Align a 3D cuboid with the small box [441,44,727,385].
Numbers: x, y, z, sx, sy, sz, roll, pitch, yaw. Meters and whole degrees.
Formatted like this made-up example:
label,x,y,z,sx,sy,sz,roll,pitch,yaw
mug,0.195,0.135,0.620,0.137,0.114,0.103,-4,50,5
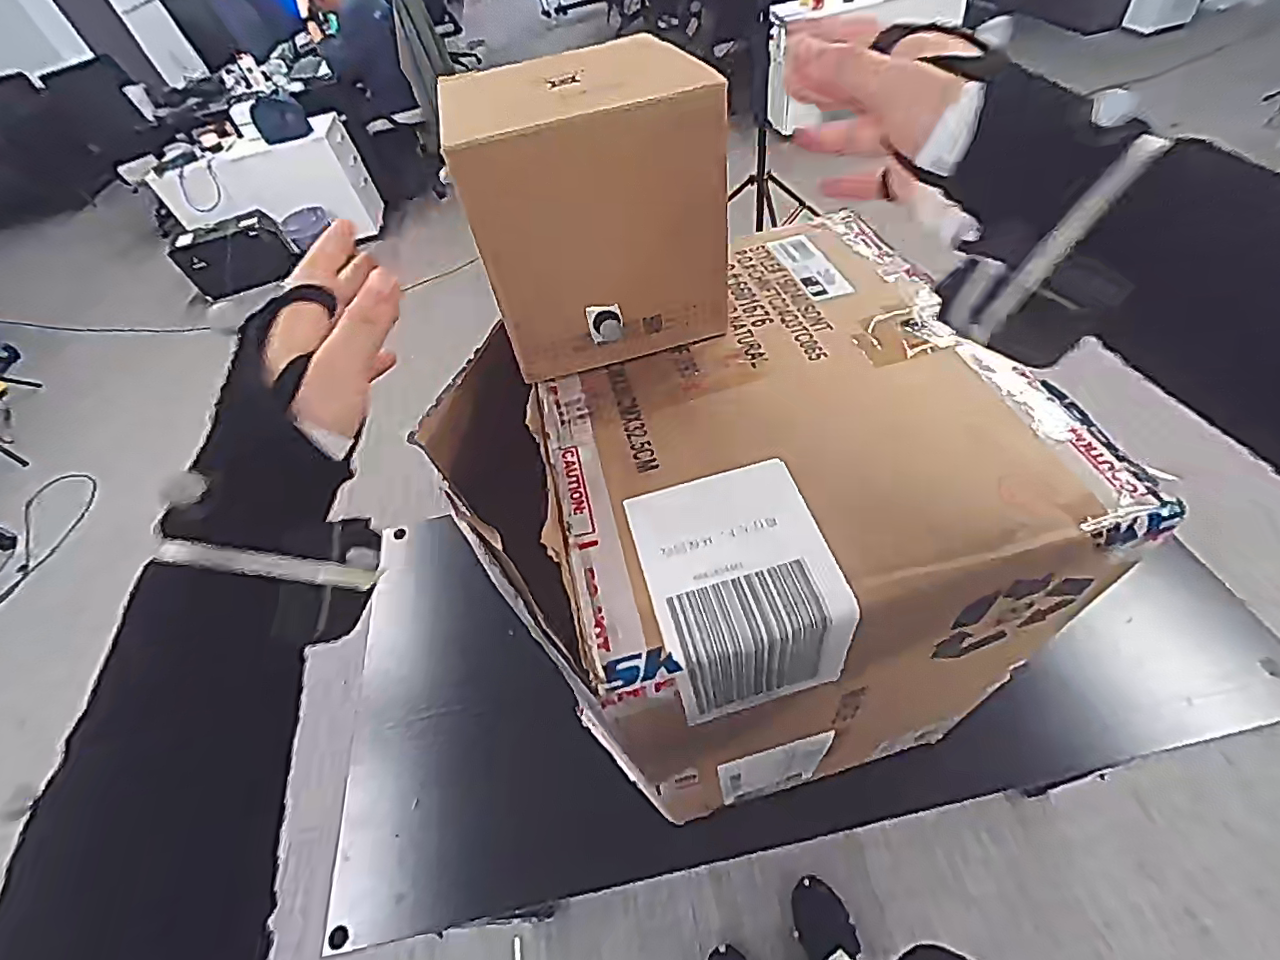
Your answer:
label,x,y,z,sx,sy,sz,roll,pitch,yaw
small box,-0.040,-0.202,0.417,0.168,0.176,0.179,-17,48,-4
